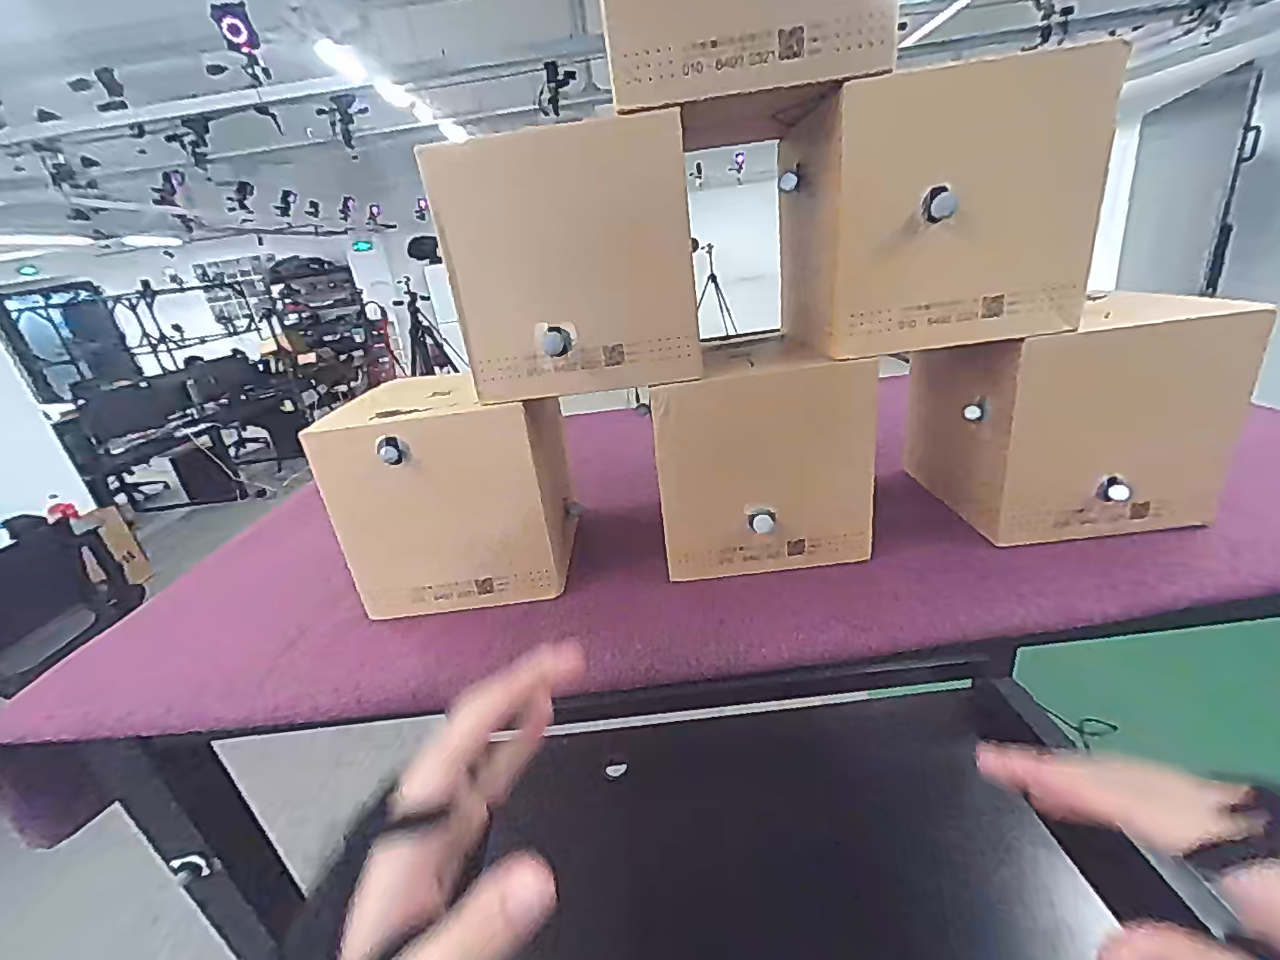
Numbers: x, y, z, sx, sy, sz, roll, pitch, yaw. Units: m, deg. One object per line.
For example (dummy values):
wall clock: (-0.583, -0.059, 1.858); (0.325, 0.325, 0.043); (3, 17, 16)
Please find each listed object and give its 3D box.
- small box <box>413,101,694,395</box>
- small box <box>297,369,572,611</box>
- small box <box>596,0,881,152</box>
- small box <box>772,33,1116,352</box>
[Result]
small box: (-0.049, -0.171, 0.432); (0.168, 0.176, 0.179); (-7, 22, 4)
small box: (-0.160, -0.004, 0.492); (0.168, 0.176, 0.179); (-8, 21, 1)
small box: (0.053, -0.335, 0.363); (0.168, 0.176, 0.179); (-6, 22, 2)
small box: (0.206, -0.199, 0.419); (0.168, 0.176, 0.179); (-7, 21, 3)
